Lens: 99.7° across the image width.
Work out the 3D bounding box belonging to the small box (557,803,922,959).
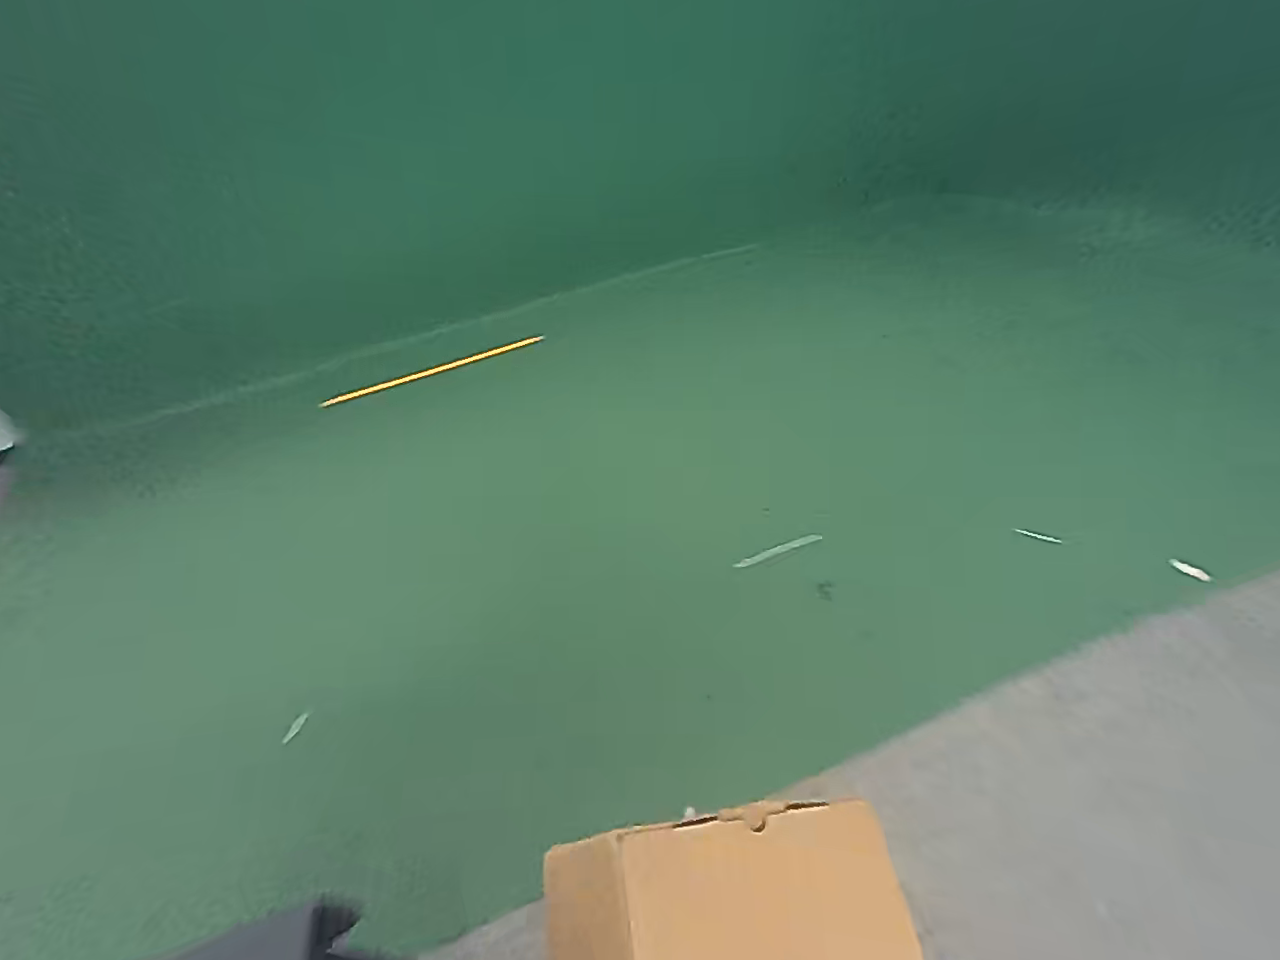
[{"bbox_3d":[0.050,0.306,0.318,0.168,0.176,0.179,7,51,-20],"label":"small box"}]
